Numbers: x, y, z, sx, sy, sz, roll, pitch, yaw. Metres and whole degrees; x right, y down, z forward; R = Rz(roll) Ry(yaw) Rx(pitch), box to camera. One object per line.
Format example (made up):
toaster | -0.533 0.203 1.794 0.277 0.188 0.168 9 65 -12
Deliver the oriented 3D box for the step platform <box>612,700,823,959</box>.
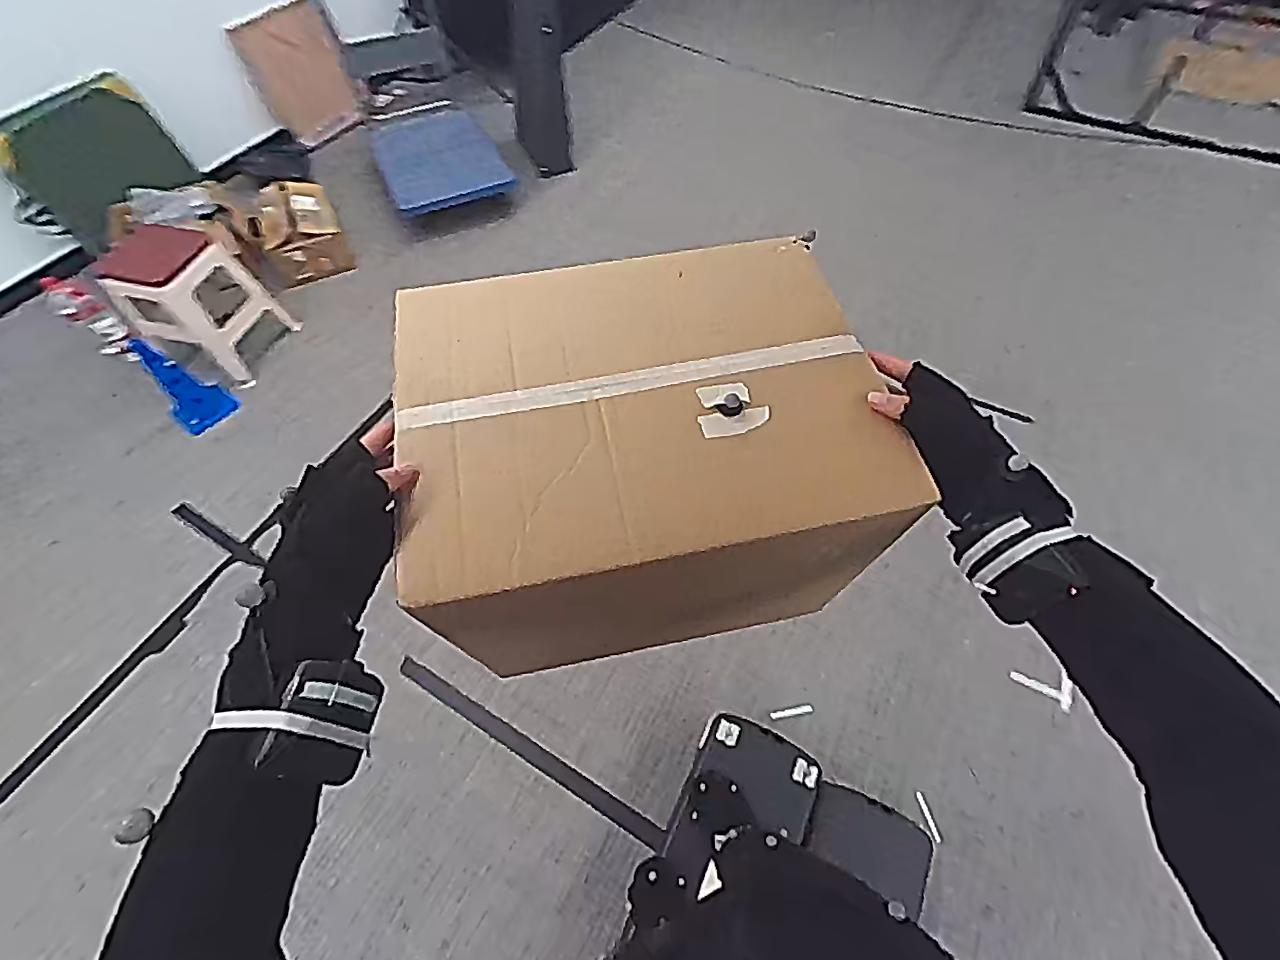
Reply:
step platform | 0.190 0.884 1.263 0.286 0.204 0.684 22 60 15

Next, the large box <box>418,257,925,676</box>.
large box | 0.004 0.000 0.610 0.408 0.320 0.320 -10 62 -6
